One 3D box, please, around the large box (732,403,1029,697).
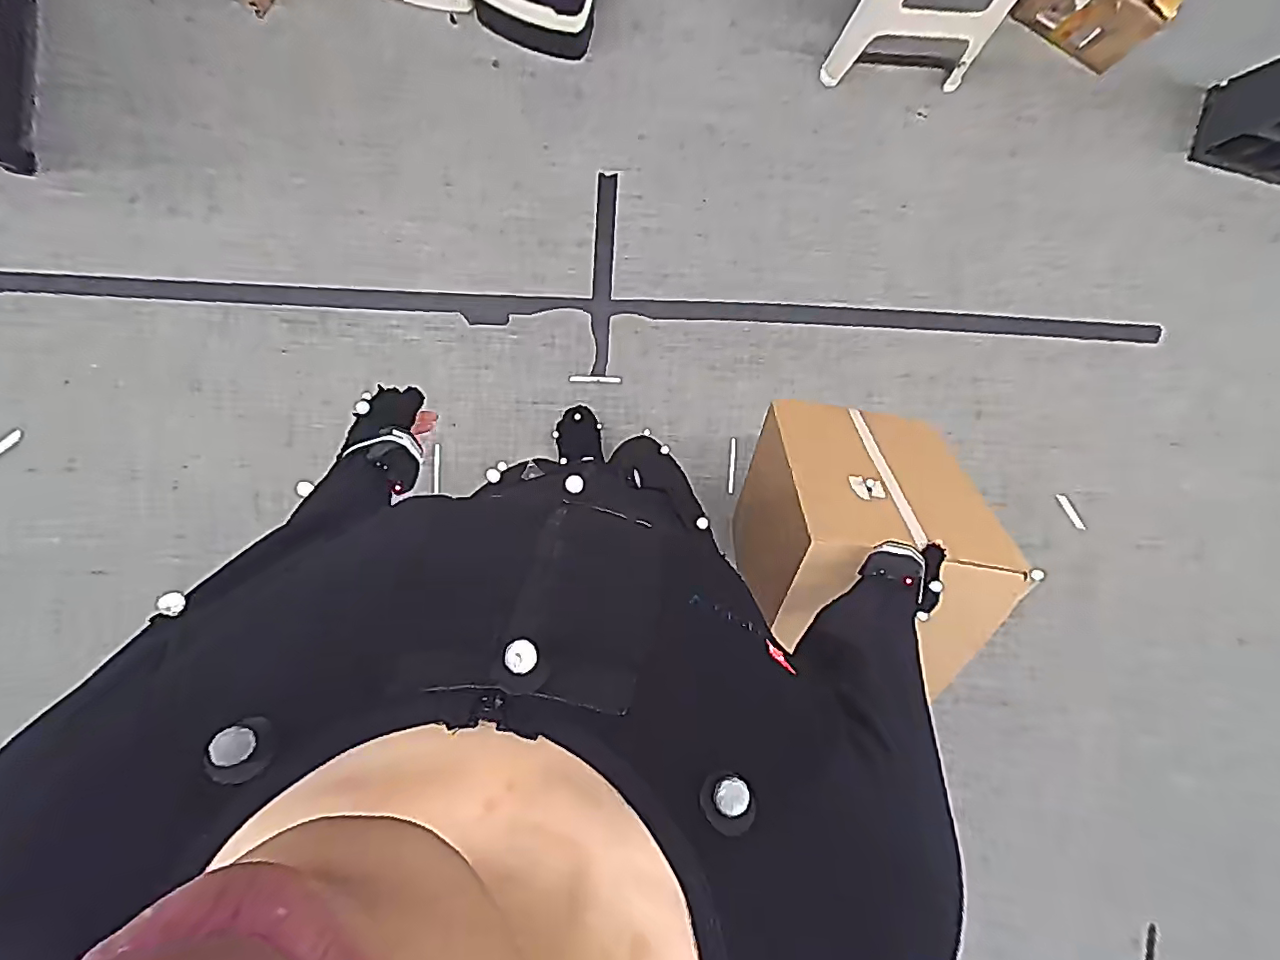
[{"bbox_3d":[0.369,0.111,0.977,0.320,0.408,0.320,8,128,-2],"label":"large box"}]
